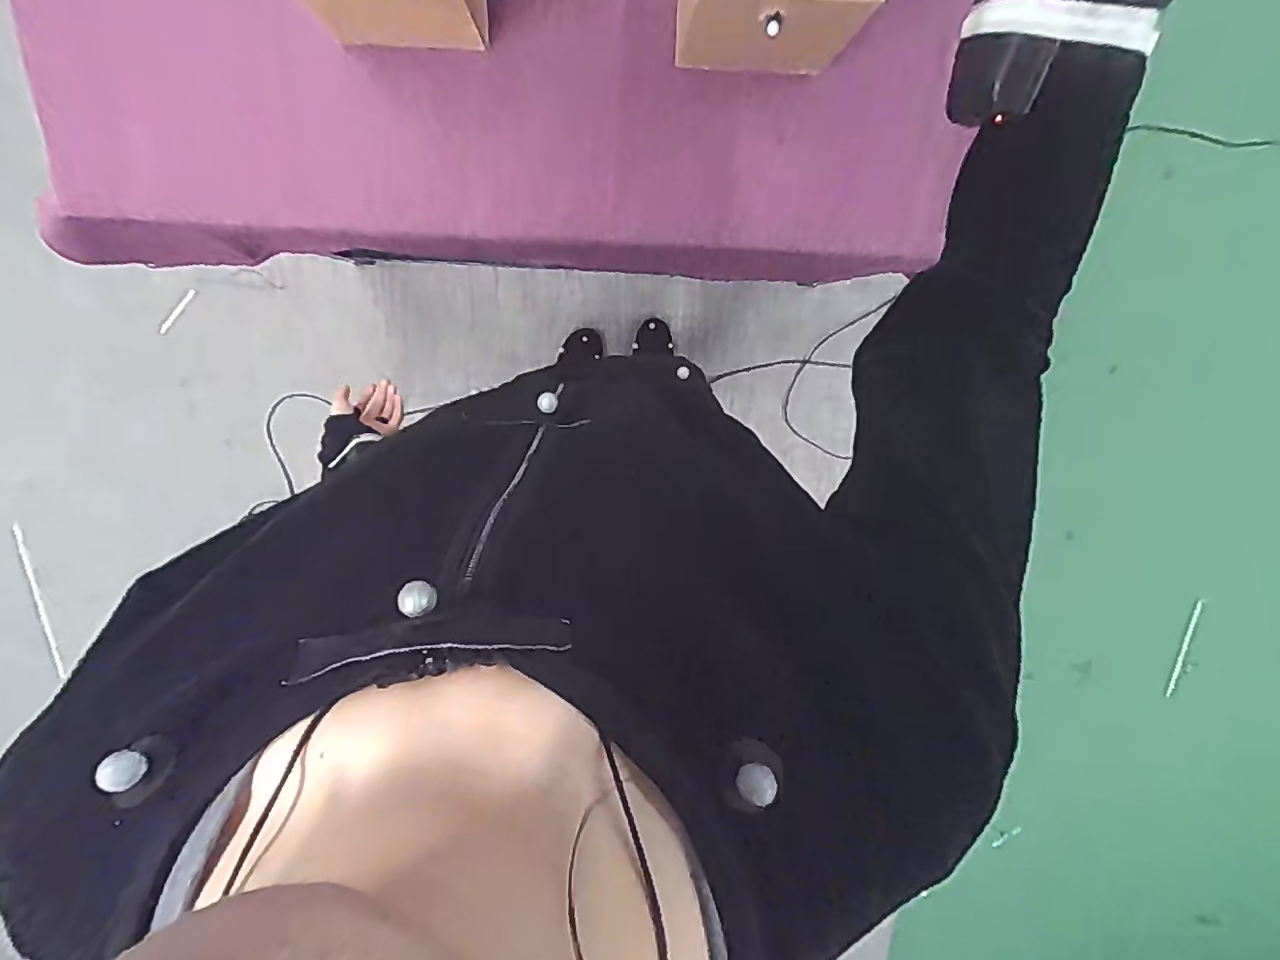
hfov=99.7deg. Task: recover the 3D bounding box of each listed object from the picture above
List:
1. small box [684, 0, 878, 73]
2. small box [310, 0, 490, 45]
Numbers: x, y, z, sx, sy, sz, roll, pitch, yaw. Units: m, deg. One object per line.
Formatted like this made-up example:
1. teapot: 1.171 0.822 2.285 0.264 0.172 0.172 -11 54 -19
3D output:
1. small box: 0.140 -0.540 0.544 0.179 0.176 0.168 0 108 -2
2. small box: -0.253 -0.556 0.520 0.179 0.176 0.168 -1 106 -4
